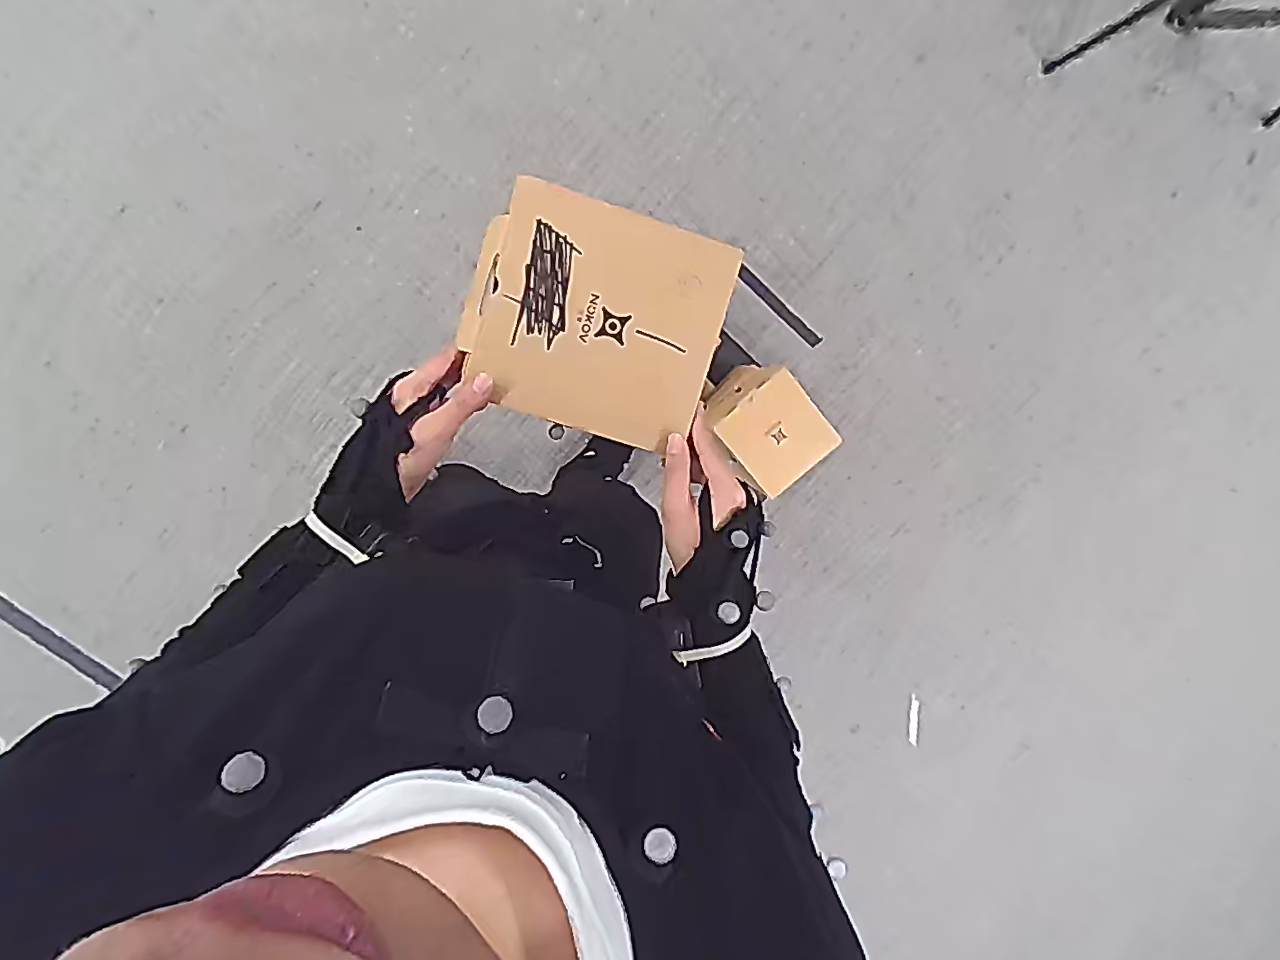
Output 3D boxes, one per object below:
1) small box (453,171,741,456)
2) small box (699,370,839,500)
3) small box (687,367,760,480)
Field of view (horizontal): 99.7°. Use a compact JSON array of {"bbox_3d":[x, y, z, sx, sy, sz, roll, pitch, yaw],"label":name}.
[{"bbox_3d":[-0.037,-0.125,0.474,0.179,0.176,0.168,17,94,-7],"label":"small box"},{"bbox_3d":[0.235,-0.091,1.025,0.168,0.176,0.179,-41,99,4],"label":"small box"},{"bbox_3d":[0.217,-0.126,1.183,0.179,0.176,0.168,-44,99,4],"label":"small box"}]
